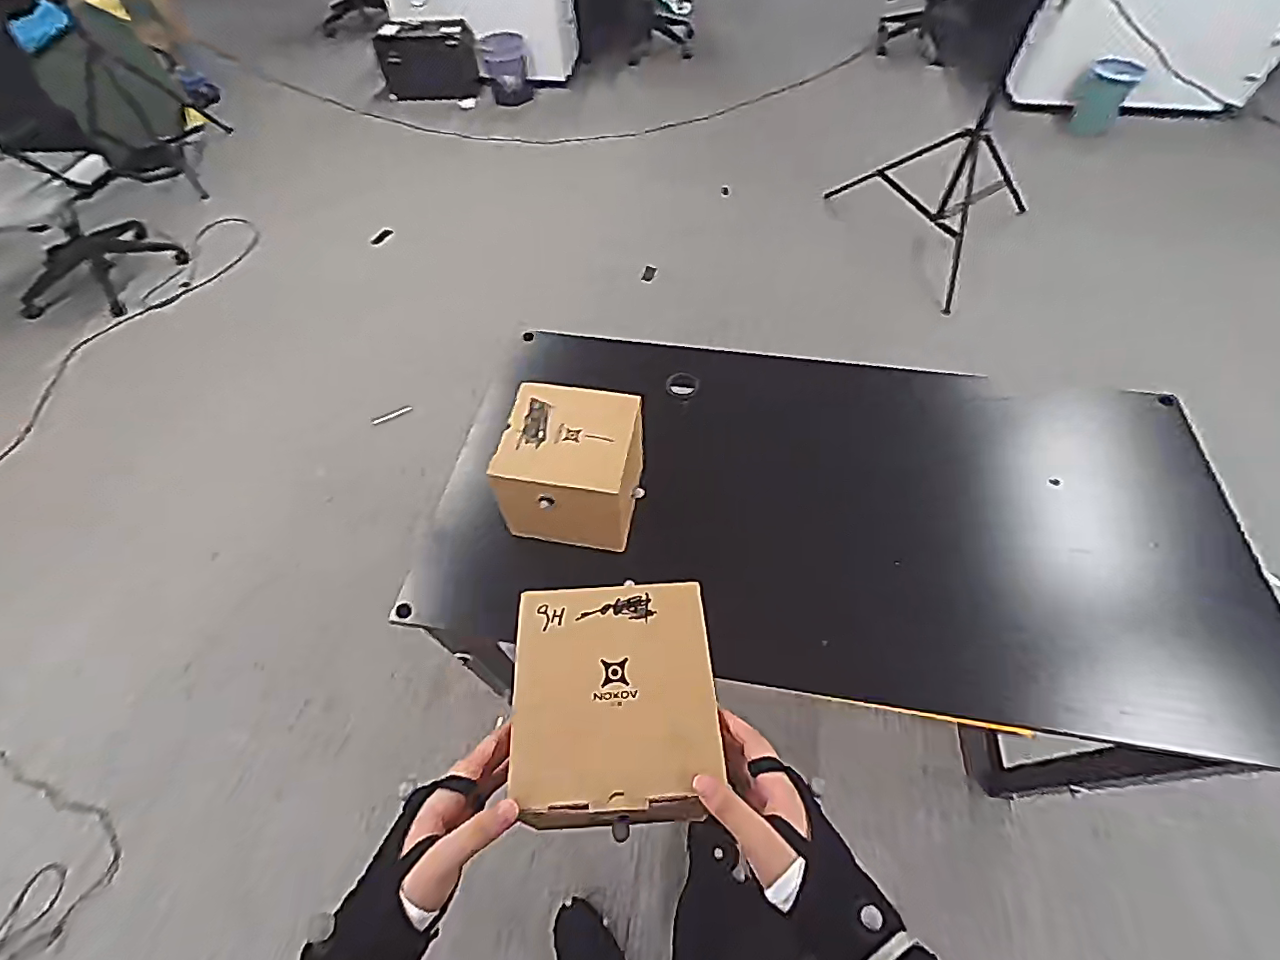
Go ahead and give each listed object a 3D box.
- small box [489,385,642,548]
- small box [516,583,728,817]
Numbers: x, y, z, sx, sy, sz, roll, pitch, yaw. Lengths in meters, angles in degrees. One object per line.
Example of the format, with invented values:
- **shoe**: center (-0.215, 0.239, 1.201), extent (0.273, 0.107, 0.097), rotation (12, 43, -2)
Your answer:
- **small box**: center (-0.096, -0.015, 0.796), extent (0.179, 0.176, 0.168), rotation (8, 58, 6)
- **small box**: center (-0.016, 0.216, 0.518), extent (0.168, 0.176, 0.179), rotation (-3, 55, -2)
